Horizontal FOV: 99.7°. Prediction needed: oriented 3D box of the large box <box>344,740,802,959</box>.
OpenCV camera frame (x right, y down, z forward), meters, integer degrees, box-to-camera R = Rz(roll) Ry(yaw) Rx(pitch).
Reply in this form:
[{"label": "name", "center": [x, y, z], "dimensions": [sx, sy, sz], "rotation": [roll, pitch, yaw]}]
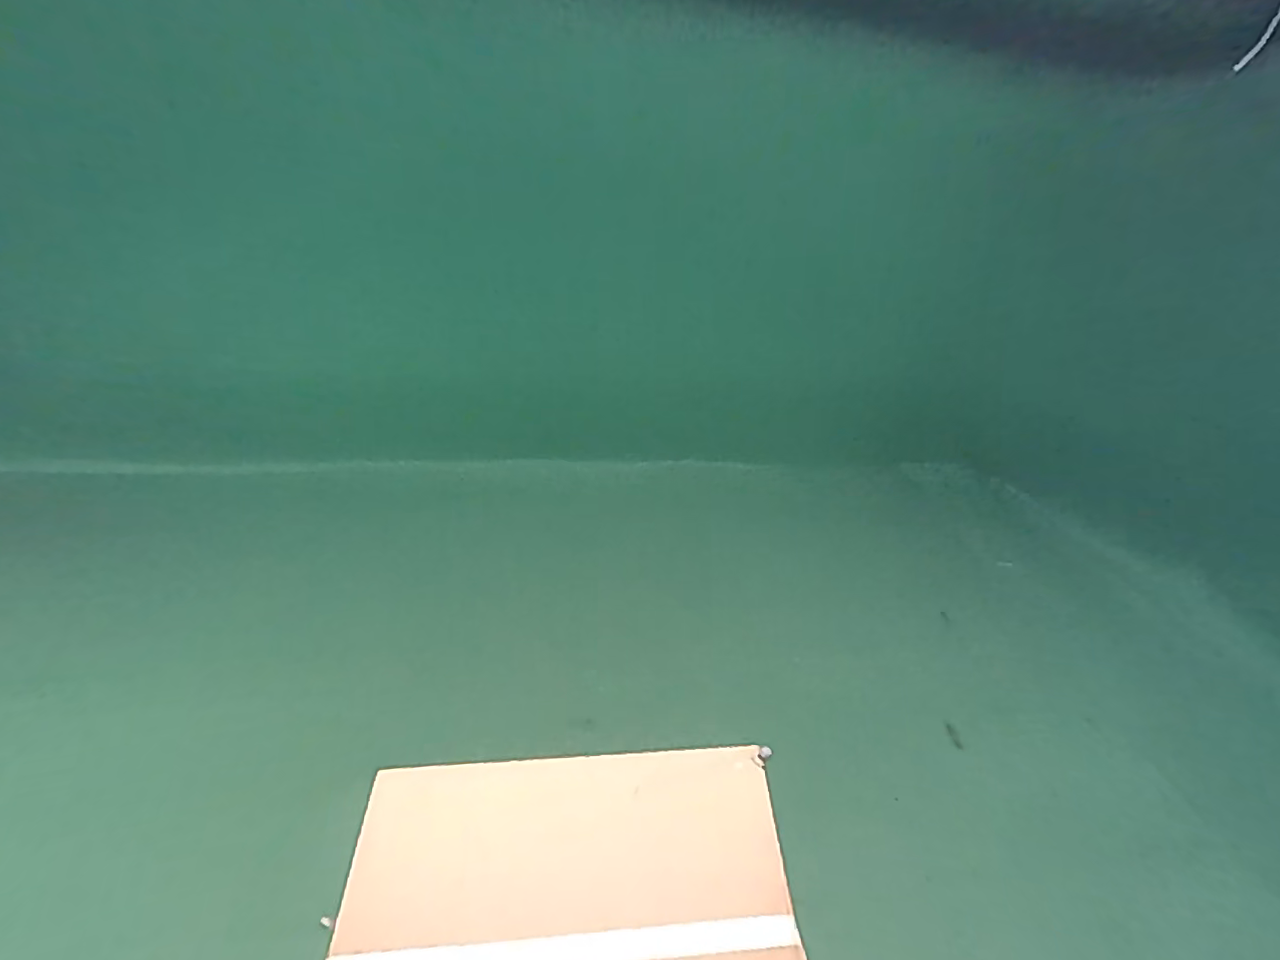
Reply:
[{"label": "large box", "center": [-0.064, 0.510, 0.584], "dimensions": [0.408, 0.320, 0.320], "rotation": [-2, 46, -4]}]
